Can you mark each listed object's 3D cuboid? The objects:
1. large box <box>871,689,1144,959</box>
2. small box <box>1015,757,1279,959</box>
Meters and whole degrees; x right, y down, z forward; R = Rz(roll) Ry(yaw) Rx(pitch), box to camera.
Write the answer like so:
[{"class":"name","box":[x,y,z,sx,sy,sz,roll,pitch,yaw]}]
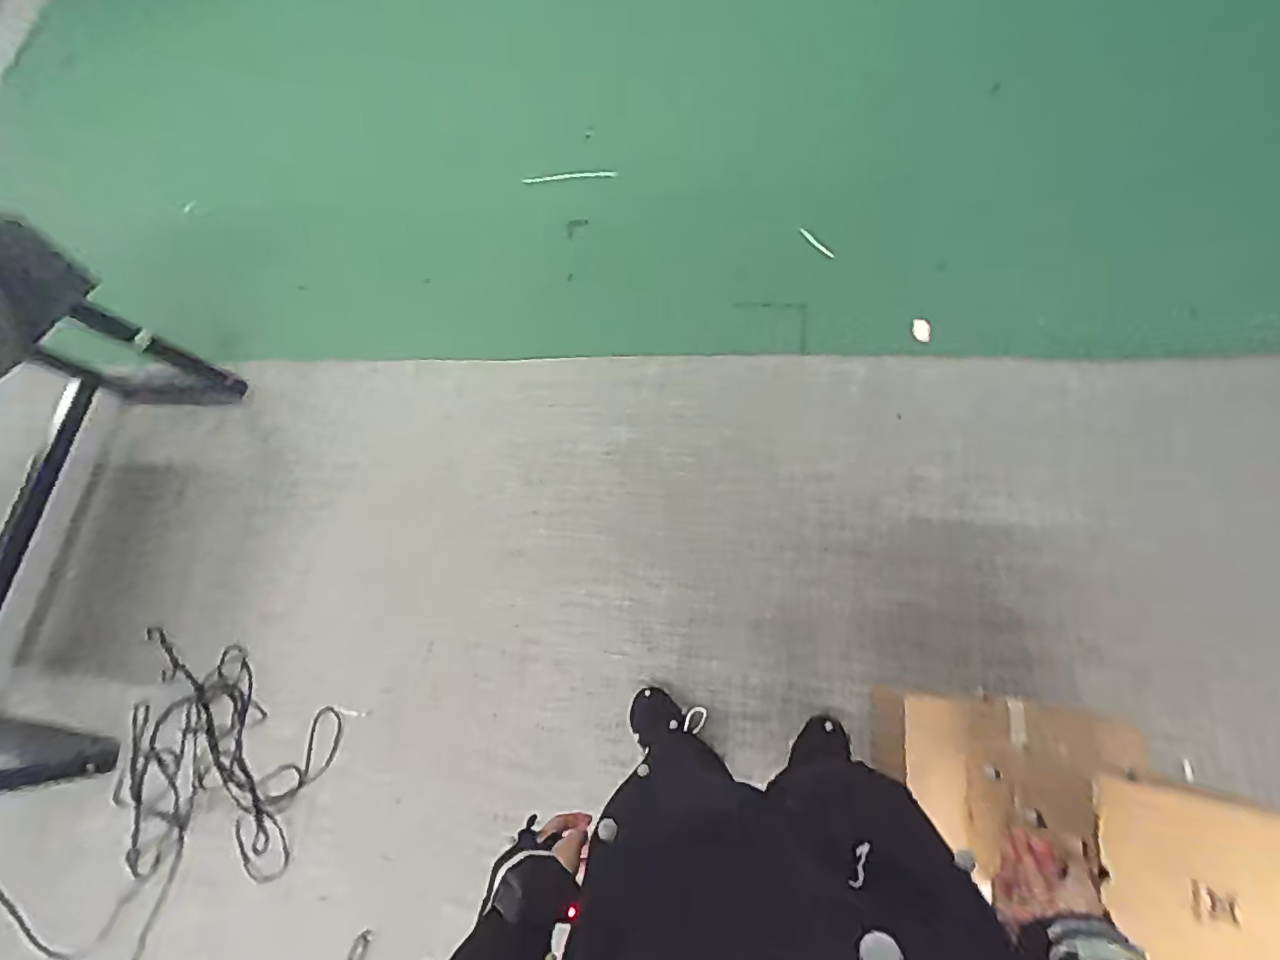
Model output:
[{"class":"large box","box":[0.576,0.582,0.893,0.320,0.320,0.408,2,74,15]},{"class":"small box","box":[0.507,0.391,0.531,0.179,0.176,0.168,8,75,16]}]
